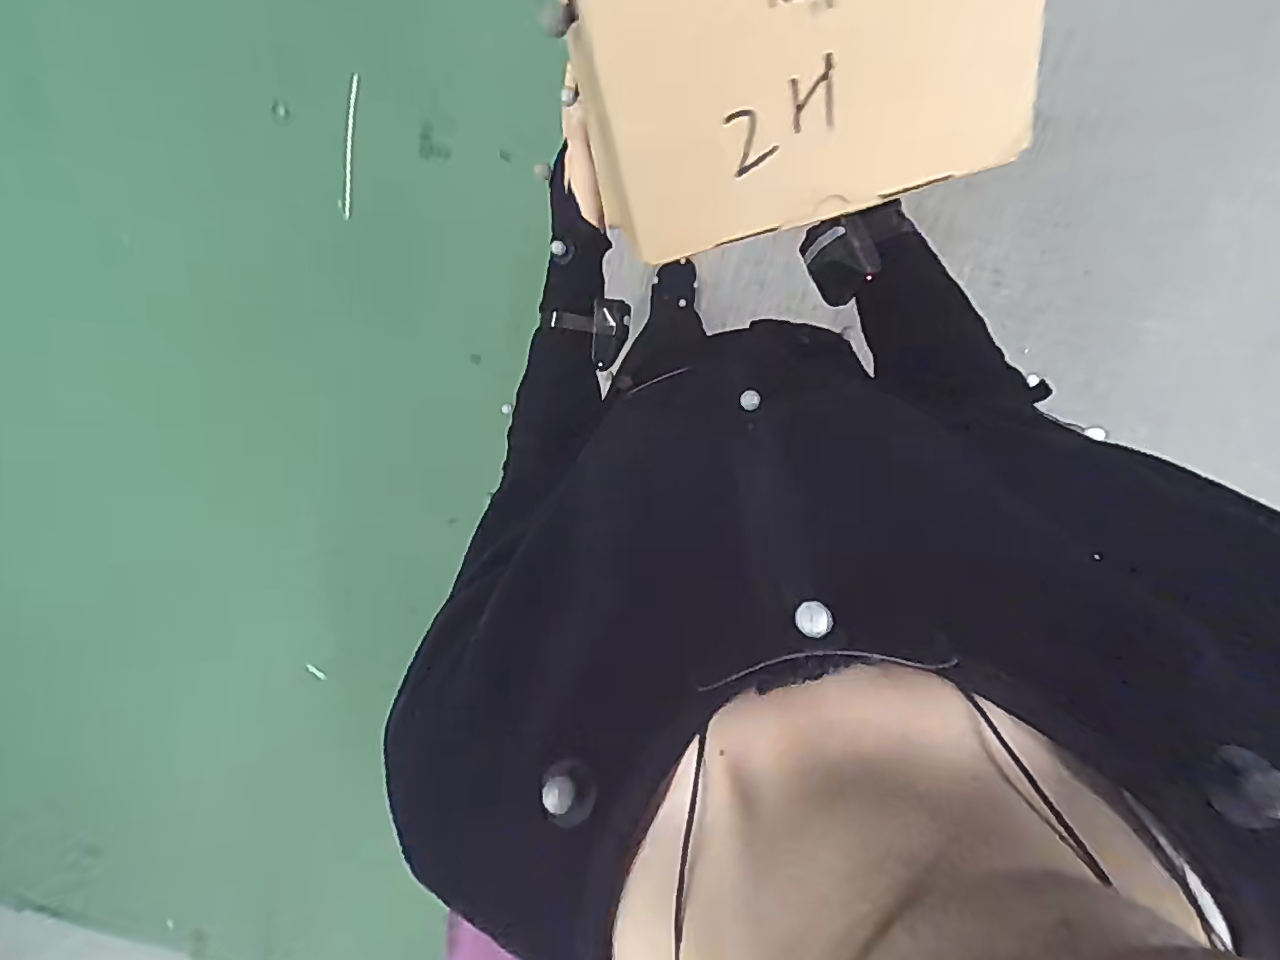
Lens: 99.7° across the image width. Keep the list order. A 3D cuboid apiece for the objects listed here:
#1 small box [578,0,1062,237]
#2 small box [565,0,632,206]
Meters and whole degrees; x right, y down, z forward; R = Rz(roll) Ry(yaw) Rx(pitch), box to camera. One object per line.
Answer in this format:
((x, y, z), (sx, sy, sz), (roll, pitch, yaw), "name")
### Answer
((0.057, -0.229, 0.249), (0.168, 0.176, 0.179), (-14, 120, 3), "small box")
((0.028, -0.390, 0.535), (0.168, 0.176, 0.179), (-13, 120, 2), "small box")
